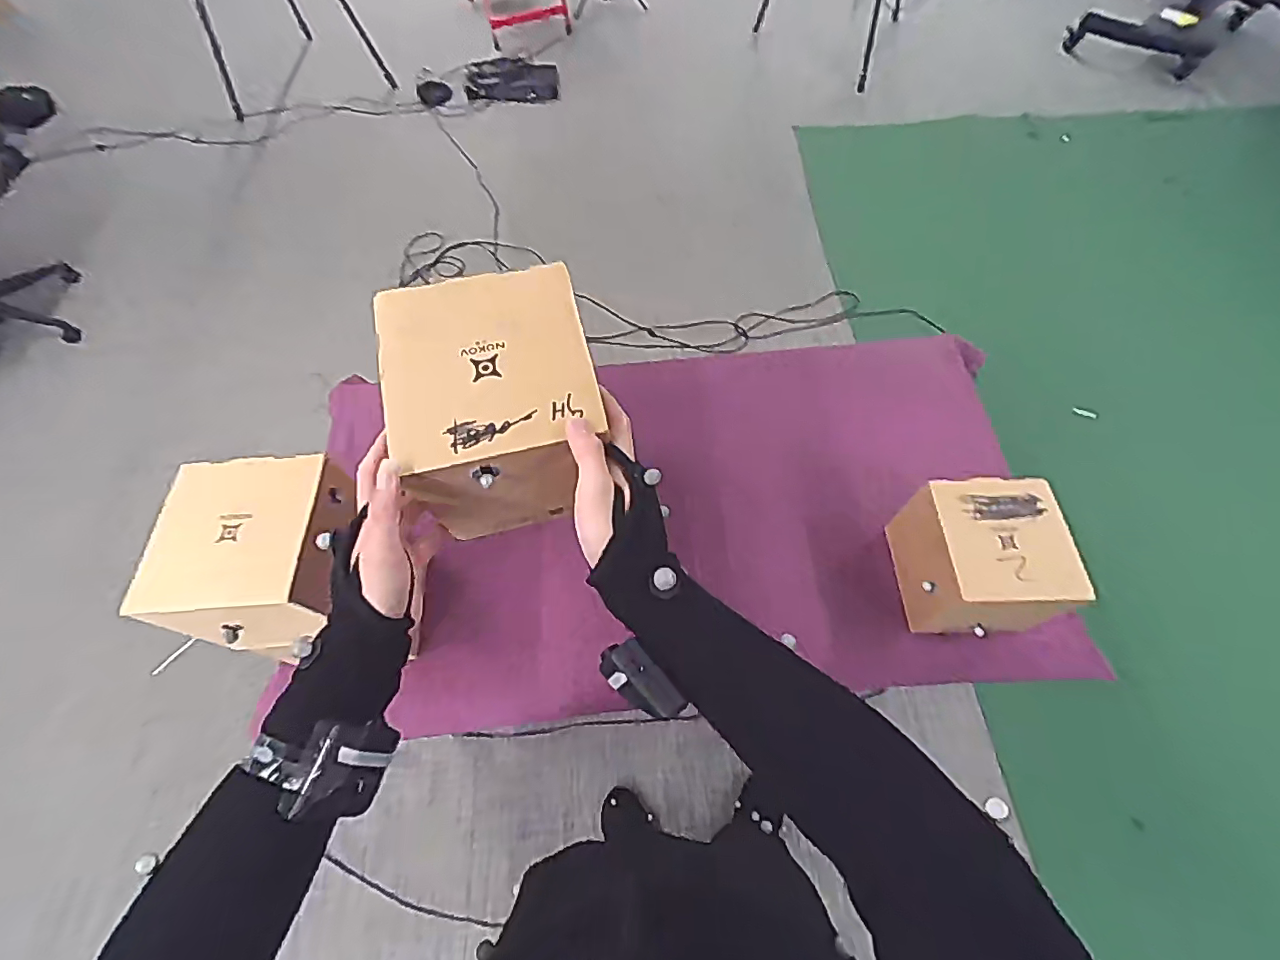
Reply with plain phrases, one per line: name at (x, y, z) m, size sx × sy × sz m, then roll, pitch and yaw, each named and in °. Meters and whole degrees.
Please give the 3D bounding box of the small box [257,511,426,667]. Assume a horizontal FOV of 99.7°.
small box at (-0.426, 0.162, 0.784) m, size 0.168 × 0.176 × 0.179 m, roll -5°, pitch 61°, yaw -1°

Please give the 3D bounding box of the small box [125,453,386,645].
small box at (-0.426, 0.090, 0.638) m, size 0.168 × 0.176 × 0.179 m, roll -4°, pitch 60°, yaw 0°

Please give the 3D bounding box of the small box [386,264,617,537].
small box at (-0.119, -0.065, 0.508) m, size 0.168 × 0.176 × 0.179 m, roll -13°, pitch 68°, yaw -5°
